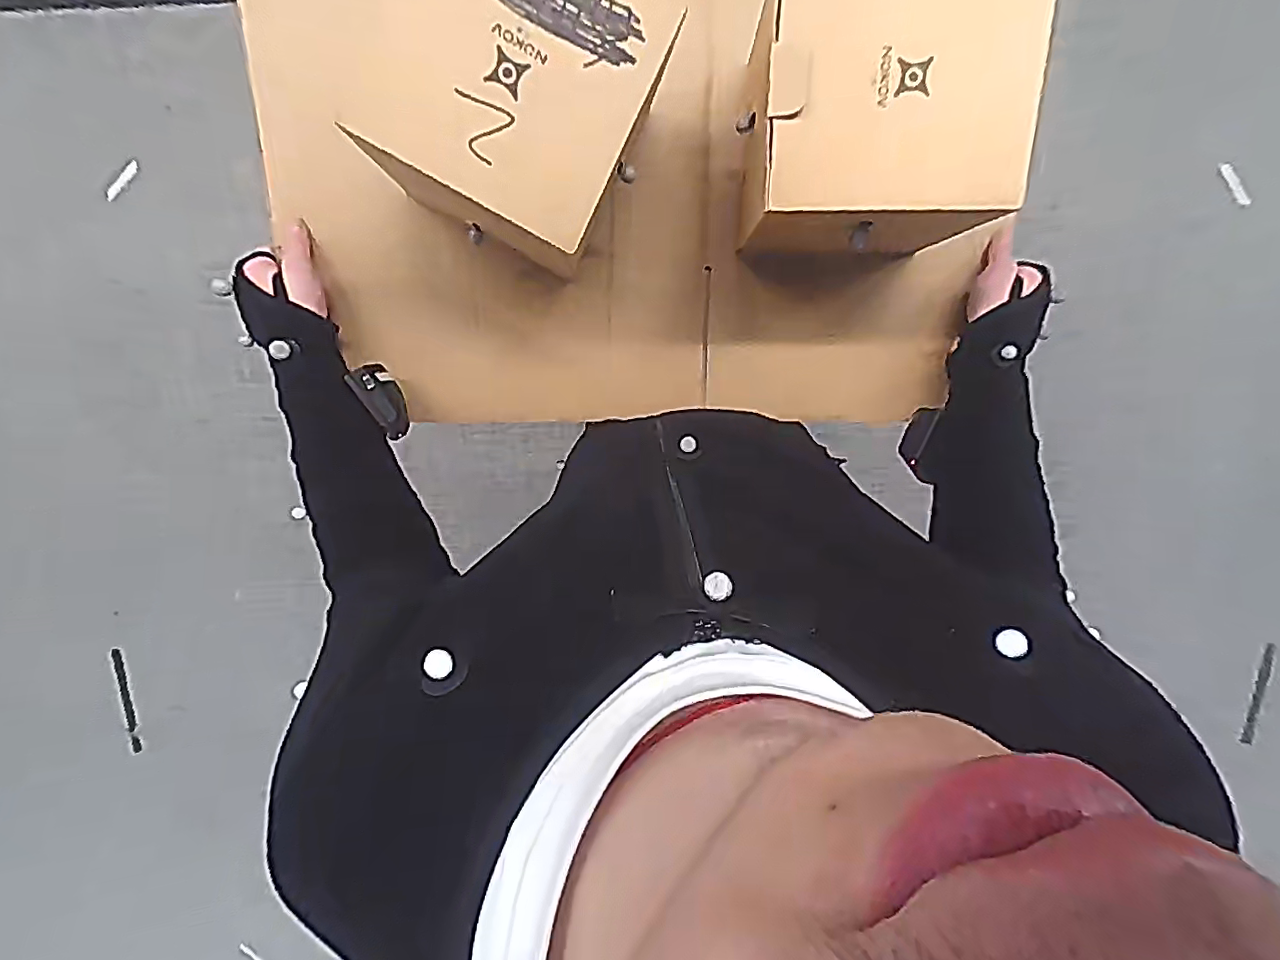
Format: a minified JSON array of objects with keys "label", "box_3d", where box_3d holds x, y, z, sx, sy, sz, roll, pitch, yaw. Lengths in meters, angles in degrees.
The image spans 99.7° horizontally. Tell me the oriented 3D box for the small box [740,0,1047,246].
[{"label":"small box","box_3d":[0.185,-0.296,0.446,0.179,0.176,0.168,1,104,3]}]
